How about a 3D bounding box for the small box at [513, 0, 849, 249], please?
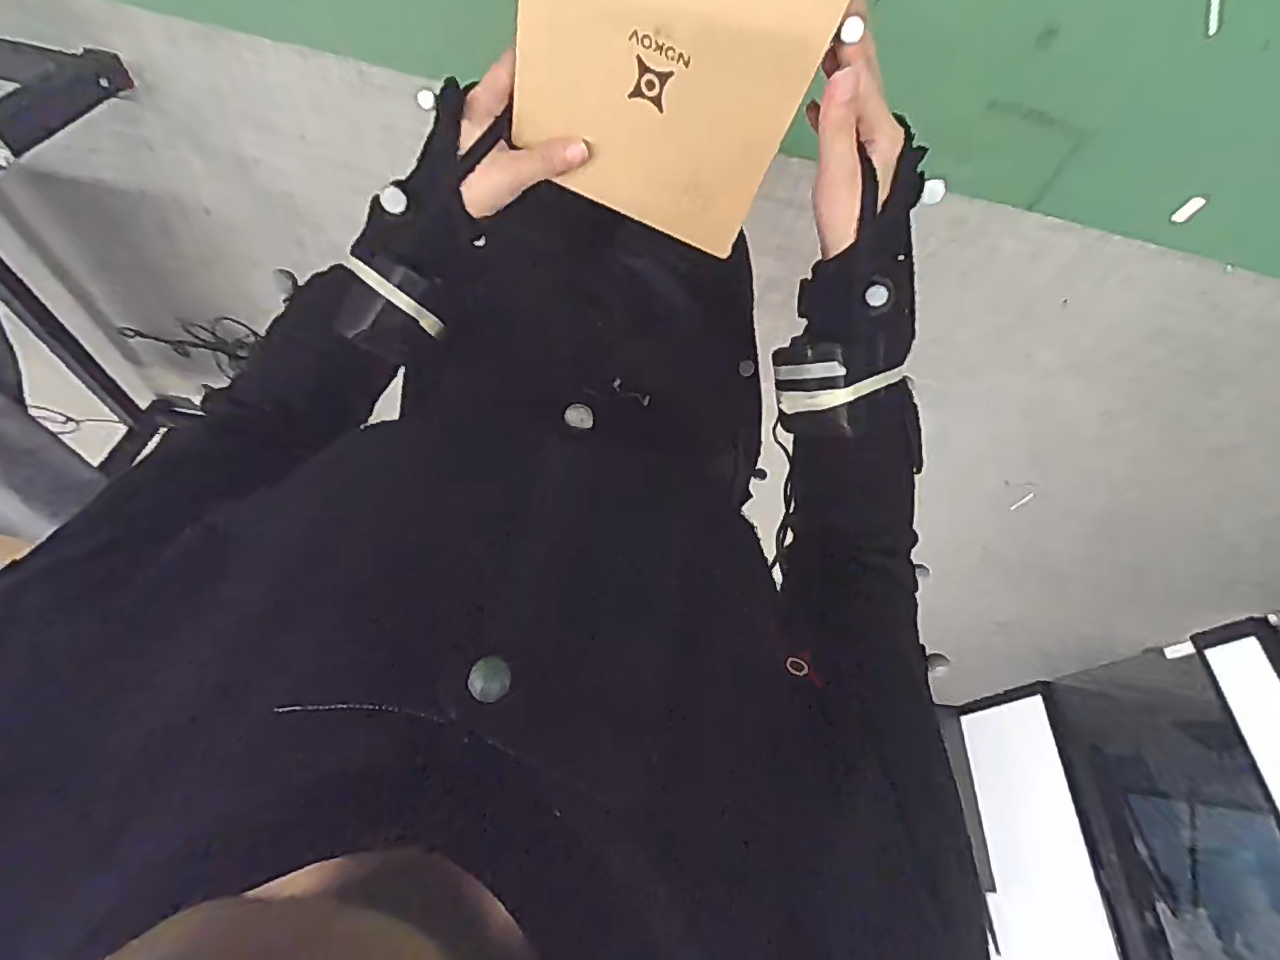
[{"bbox_3d":[0.033,-0.296,0.344,0.168,0.176,0.179,23,149,-4],"label":"small box"}]
